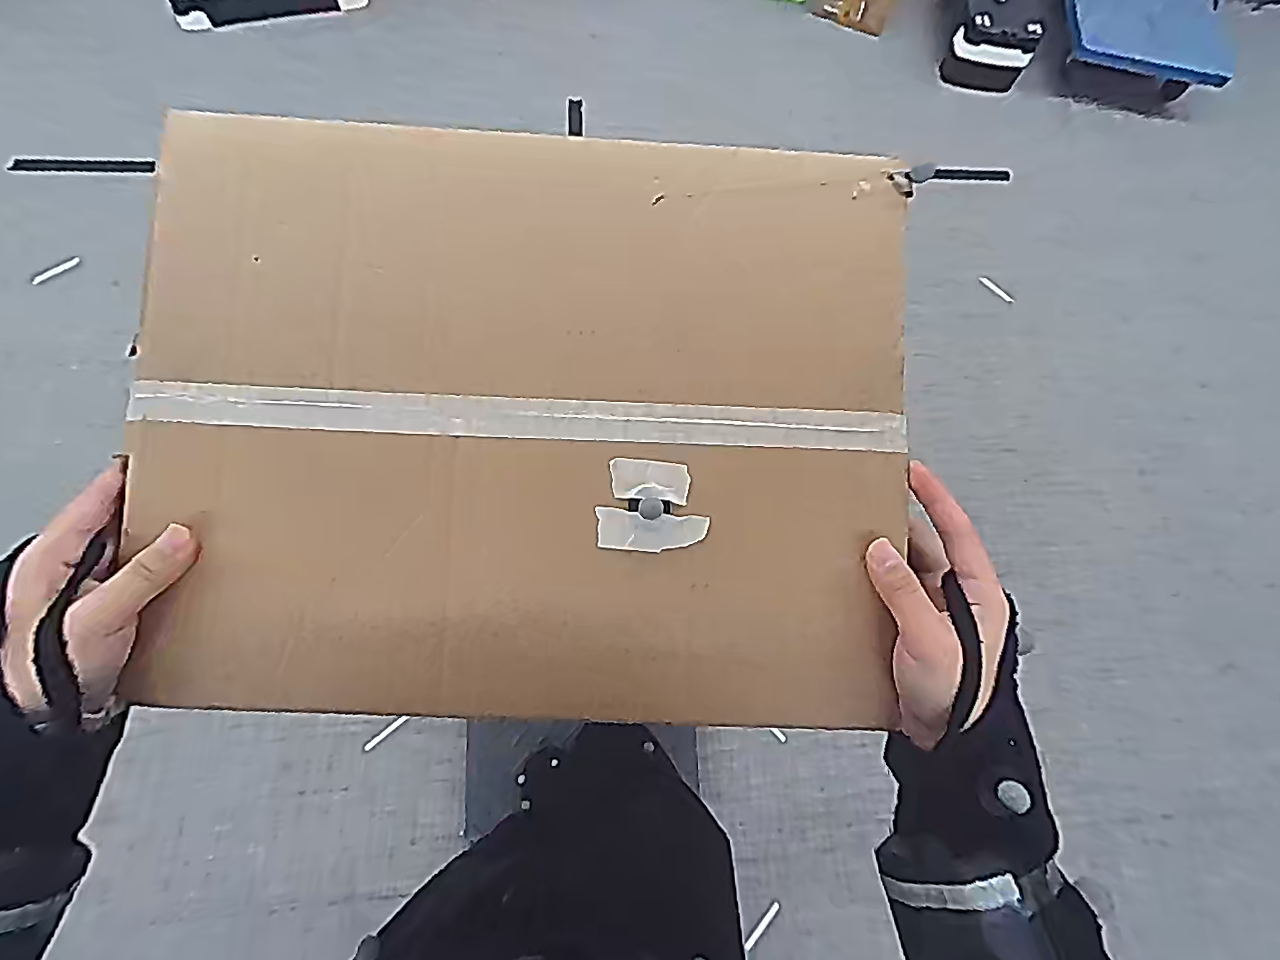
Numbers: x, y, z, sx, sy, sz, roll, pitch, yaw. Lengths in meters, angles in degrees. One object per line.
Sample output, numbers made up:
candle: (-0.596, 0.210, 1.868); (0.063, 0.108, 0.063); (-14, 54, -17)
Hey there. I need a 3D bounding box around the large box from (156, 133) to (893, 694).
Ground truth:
large box: (-0.062, -0.029, 0.452); (0.408, 0.320, 0.320); (3, 87, -2)
